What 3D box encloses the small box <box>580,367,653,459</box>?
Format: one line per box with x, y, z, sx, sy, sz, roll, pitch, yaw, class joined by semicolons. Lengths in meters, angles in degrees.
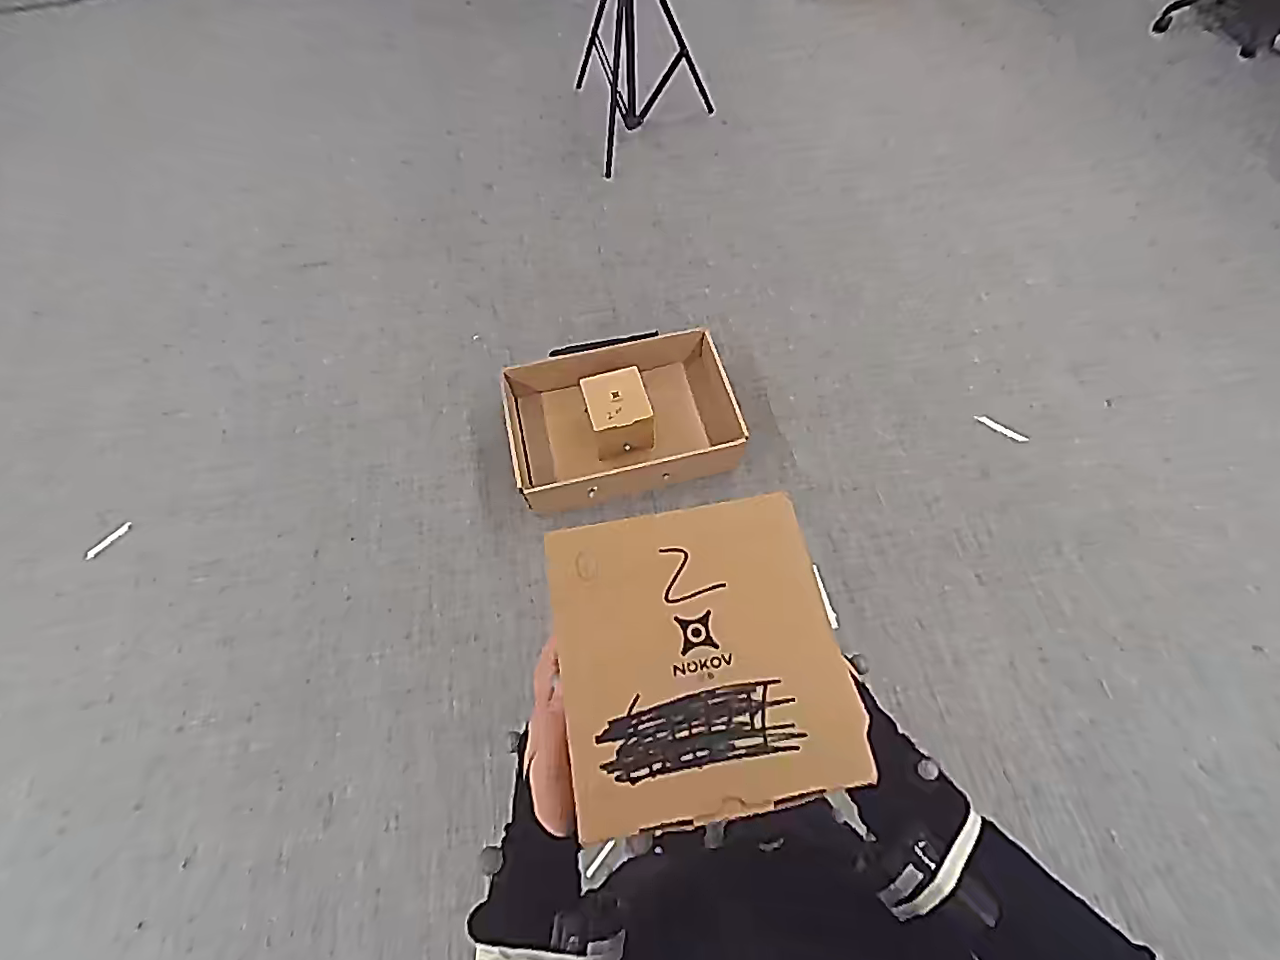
-0.065;-0.186;1.524;0.168;0.176;0.179;-15;66;-6;small box
